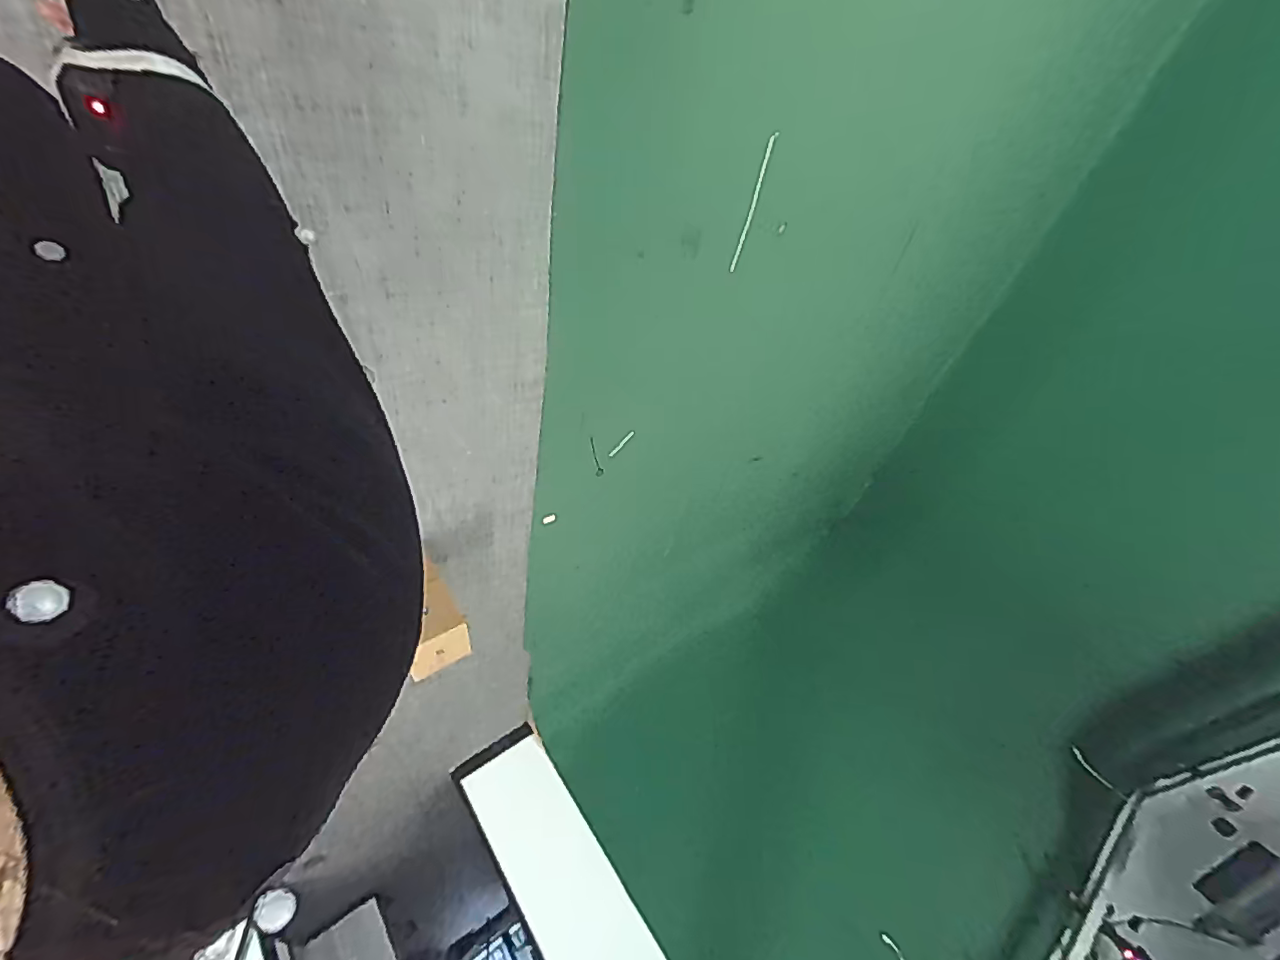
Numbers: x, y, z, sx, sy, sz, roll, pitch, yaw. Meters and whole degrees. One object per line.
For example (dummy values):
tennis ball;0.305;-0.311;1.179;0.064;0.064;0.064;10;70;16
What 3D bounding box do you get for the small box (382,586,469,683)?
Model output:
small box;-0.590;0.415;1.488;0.168;0.176;0.179;-23;145;-29
